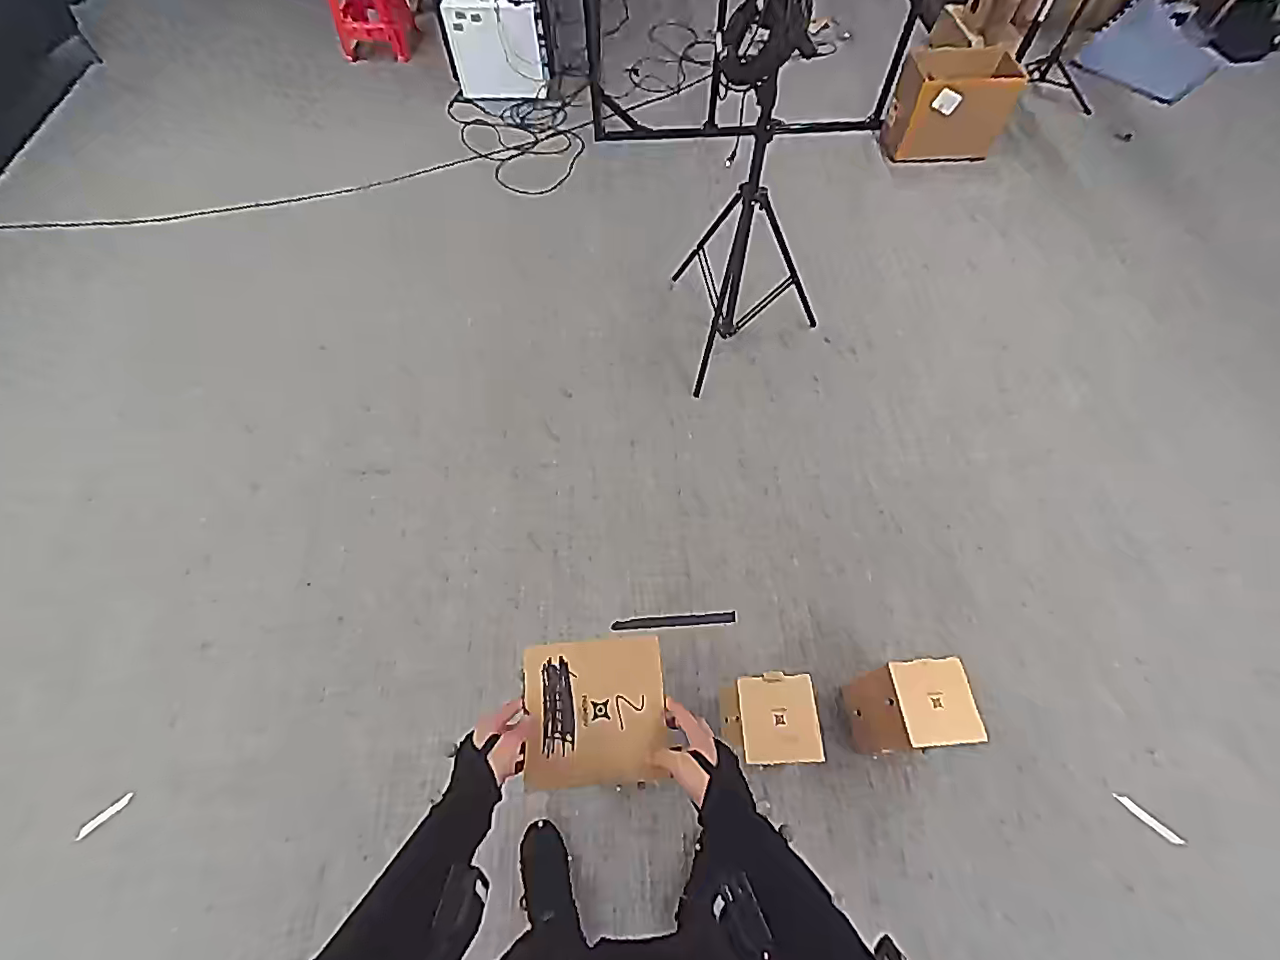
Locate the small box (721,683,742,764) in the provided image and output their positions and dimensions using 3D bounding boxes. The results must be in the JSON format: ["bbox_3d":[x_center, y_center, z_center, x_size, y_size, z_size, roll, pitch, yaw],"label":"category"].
[{"bbox_3d":[0.300,0.614,1.361,0.168,0.176,0.179,-2,62,0],"label":"small box"}]

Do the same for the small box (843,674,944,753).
[{"bbox_3d":[0.639,0.590,1.372,0.168,0.176,0.179,-5,61,-2],"label":"small box"}]

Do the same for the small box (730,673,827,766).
[{"bbox_3d":[0.300,0.540,1.214,0.168,0.176,0.179,-2,61,0],"label":"small box"}]

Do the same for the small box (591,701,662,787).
[{"bbox_3d":[-0.034,0.657,1.342,0.168,0.176,0.179,-4,61,-1],"label":"small box"}]

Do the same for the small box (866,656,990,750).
[{"bbox_3d":[0.642,0.512,1.230,0.168,0.176,0.179,-4,60,-2],"label":"small box"}]
